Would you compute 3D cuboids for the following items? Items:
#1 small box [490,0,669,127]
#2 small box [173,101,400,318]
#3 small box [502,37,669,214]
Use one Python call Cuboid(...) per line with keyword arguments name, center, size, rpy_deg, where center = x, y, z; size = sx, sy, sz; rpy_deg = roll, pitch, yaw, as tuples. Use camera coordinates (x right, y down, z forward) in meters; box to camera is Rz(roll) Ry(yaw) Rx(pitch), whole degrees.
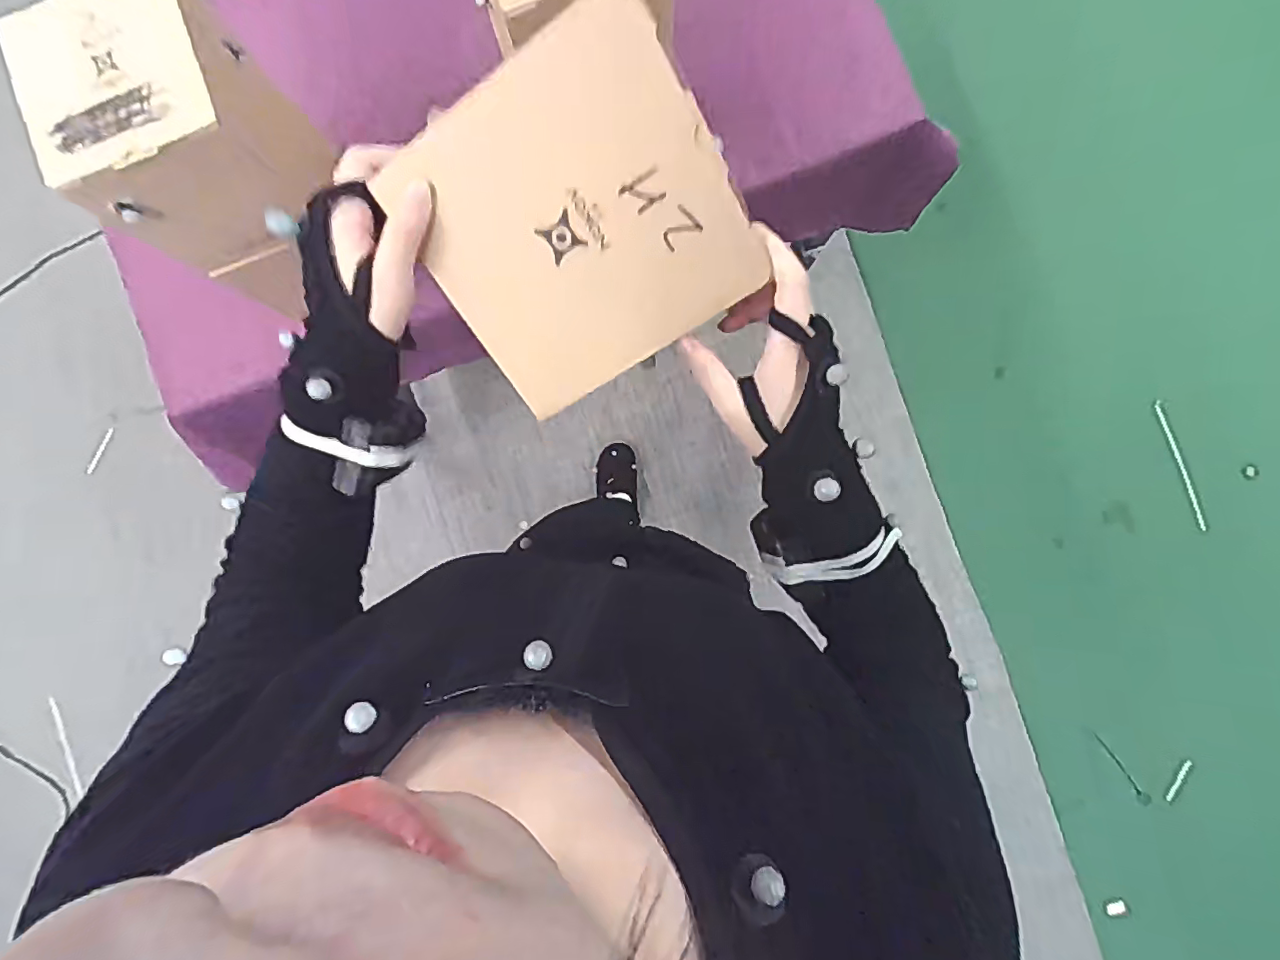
Cuboid(name="small box", center=(-0.071, -0.512, 0.563), size=(0.168, 0.176, 0.179), rpy_deg=(-22, 87, 0))
Cuboid(name="small box", center=(-0.459, -0.349, 0.730), size=(0.168, 0.176, 0.179), rpy_deg=(-20, 88, 1))
Cuboid(name="small box", center=(-0.068, -0.503, 0.728), size=(0.168, 0.176, 0.179), rpy_deg=(-21, 86, 1))
